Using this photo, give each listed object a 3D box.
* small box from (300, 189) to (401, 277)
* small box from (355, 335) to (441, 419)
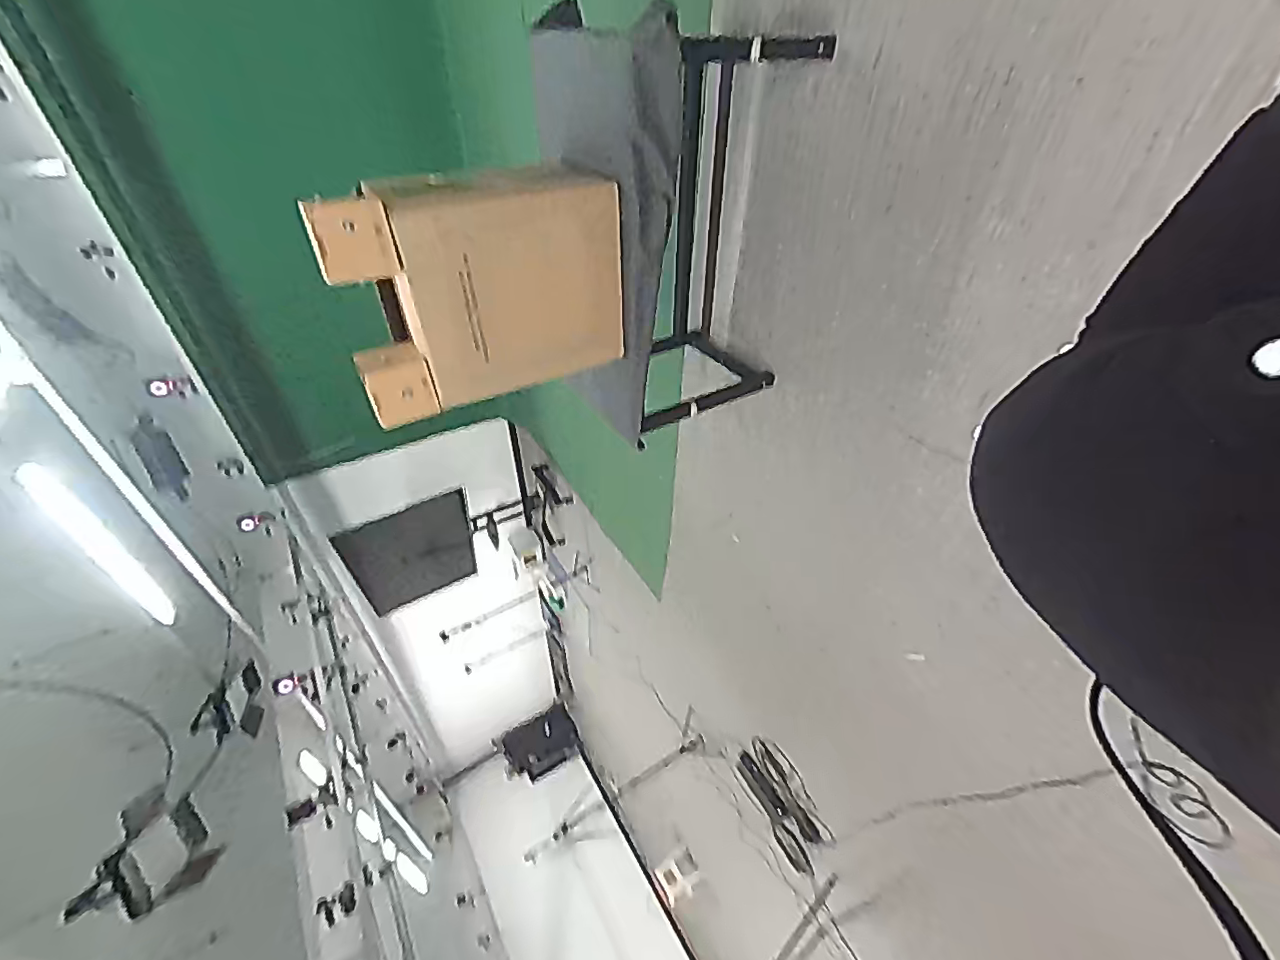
[{"bbox_3d":[-0.697,-0.606,1.315,0.179,0.176,0.168,41,143,47],"label":"small box"},{"bbox_3d":[-0.698,-0.306,1.576,0.179,0.176,0.168,42,147,43],"label":"small box"}]
